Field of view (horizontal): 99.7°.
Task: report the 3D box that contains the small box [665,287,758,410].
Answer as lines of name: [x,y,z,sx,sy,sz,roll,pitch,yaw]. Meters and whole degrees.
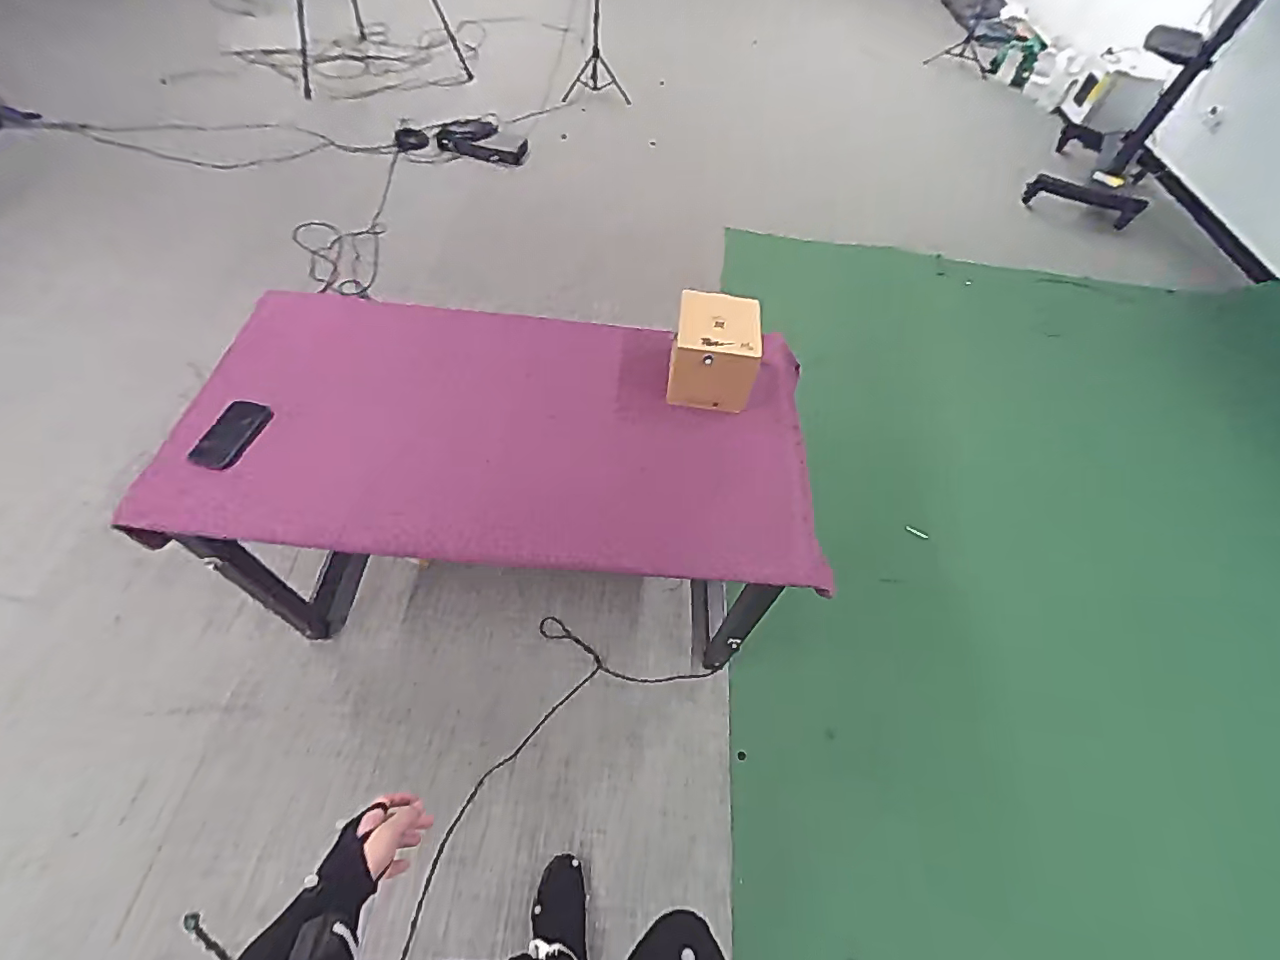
small box: [0.145,-0.275,1.139,0.168,0.176,0.179,7,56,0]
